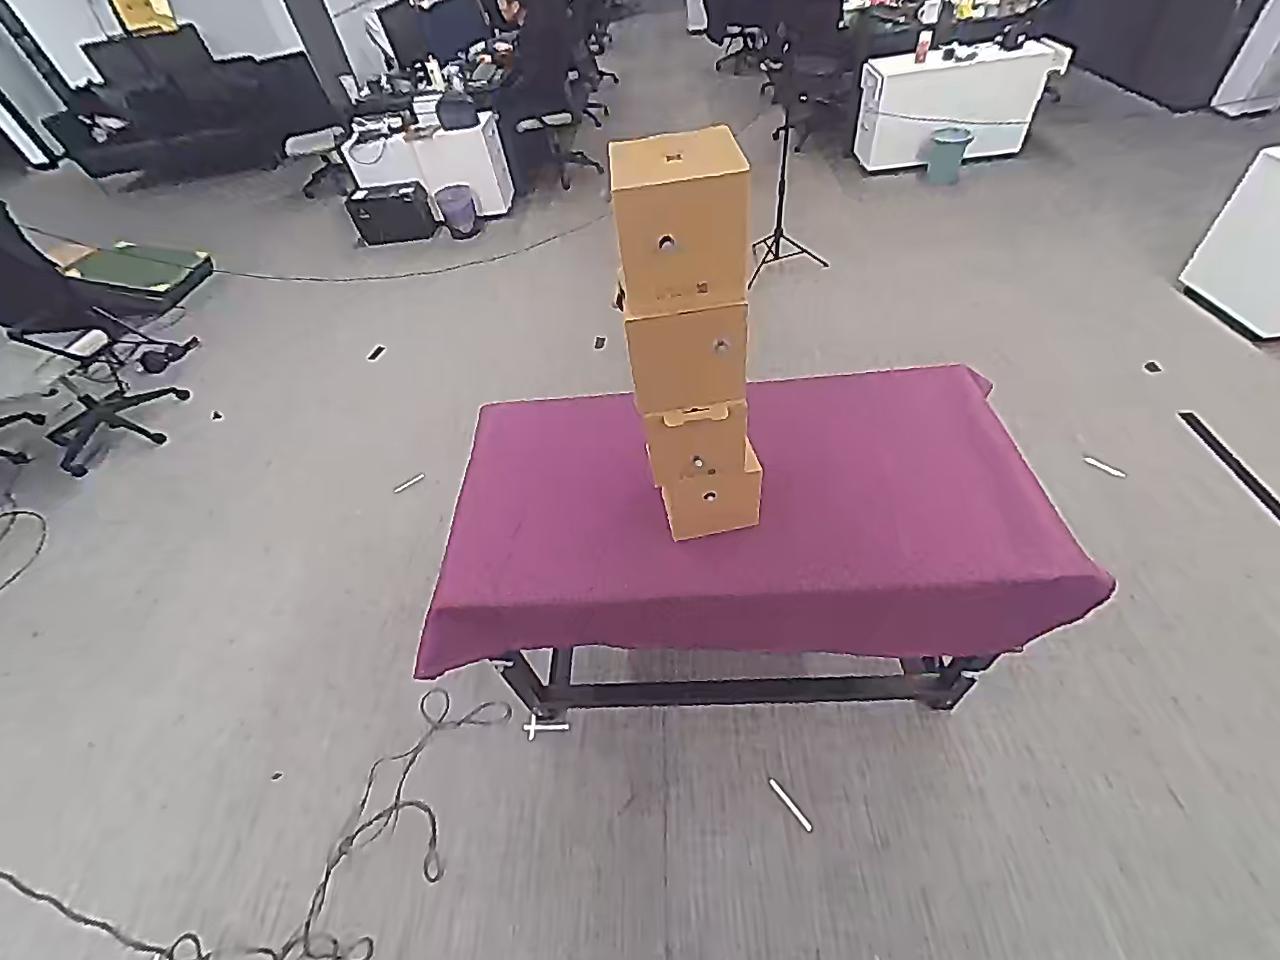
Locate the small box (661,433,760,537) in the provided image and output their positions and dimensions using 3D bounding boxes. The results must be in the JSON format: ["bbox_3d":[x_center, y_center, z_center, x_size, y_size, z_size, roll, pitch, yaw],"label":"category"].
[{"bbox_3d":[0.131,-0.005,1.078,0.179,0.176,0.168,-12,48,-2],"label":"small box"}]

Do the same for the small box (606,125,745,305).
[{"bbox_3d":[0.048,-0.353,0.739,0.168,0.176,0.179,-8,47,3],"label":"small box"}]

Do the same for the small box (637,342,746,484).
[{"bbox_3d":[0.089,-0.117,0.963,0.168,0.176,0.179,-9,48,3],"label":"small box"}]
